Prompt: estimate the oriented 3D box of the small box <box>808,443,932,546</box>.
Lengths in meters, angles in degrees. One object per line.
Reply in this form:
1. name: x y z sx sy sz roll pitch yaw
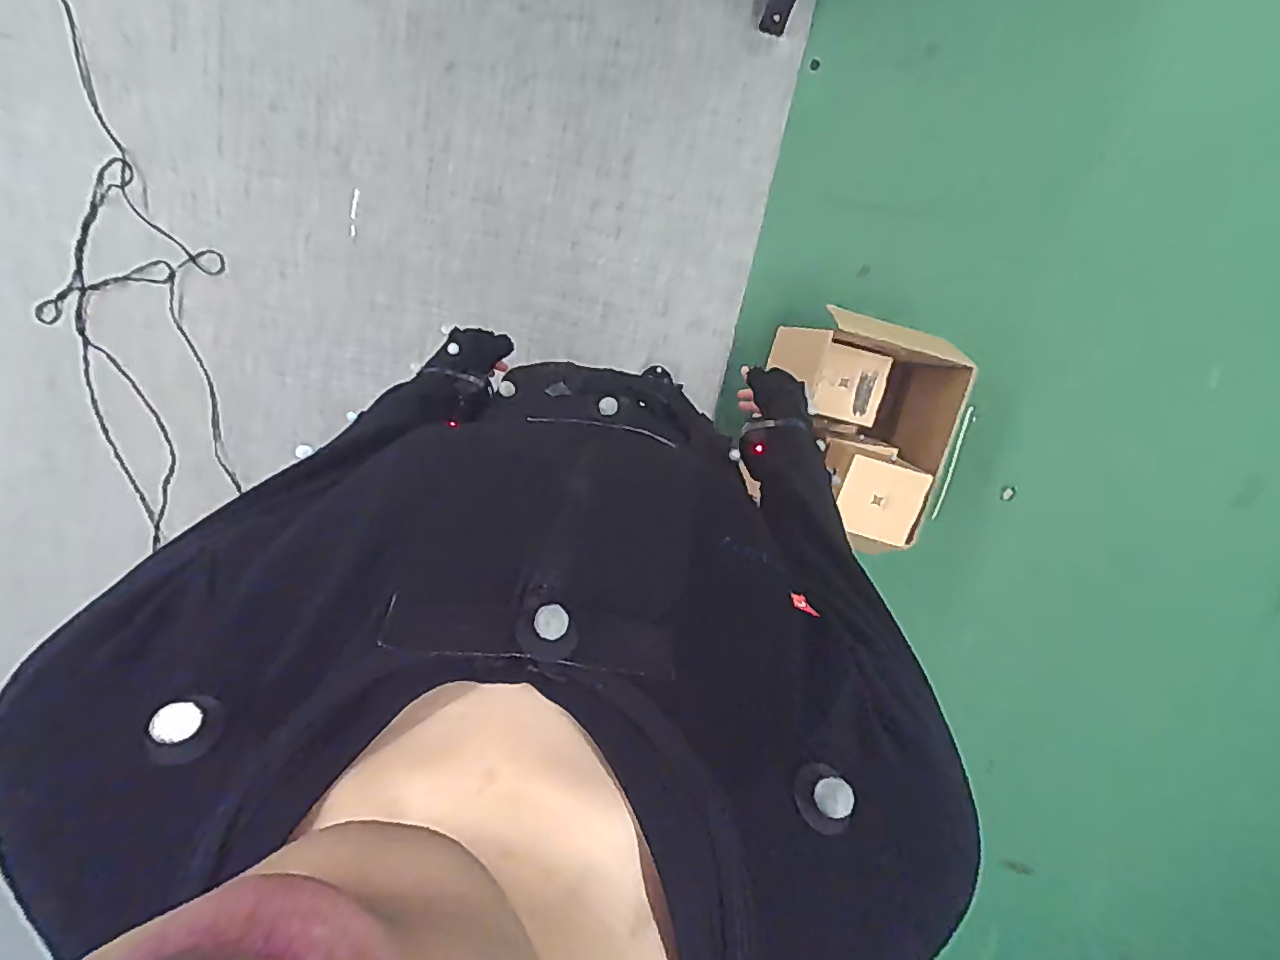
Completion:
1. small box: 0.497 0.023 1.202 0.179 0.176 0.168 16 104 -3
